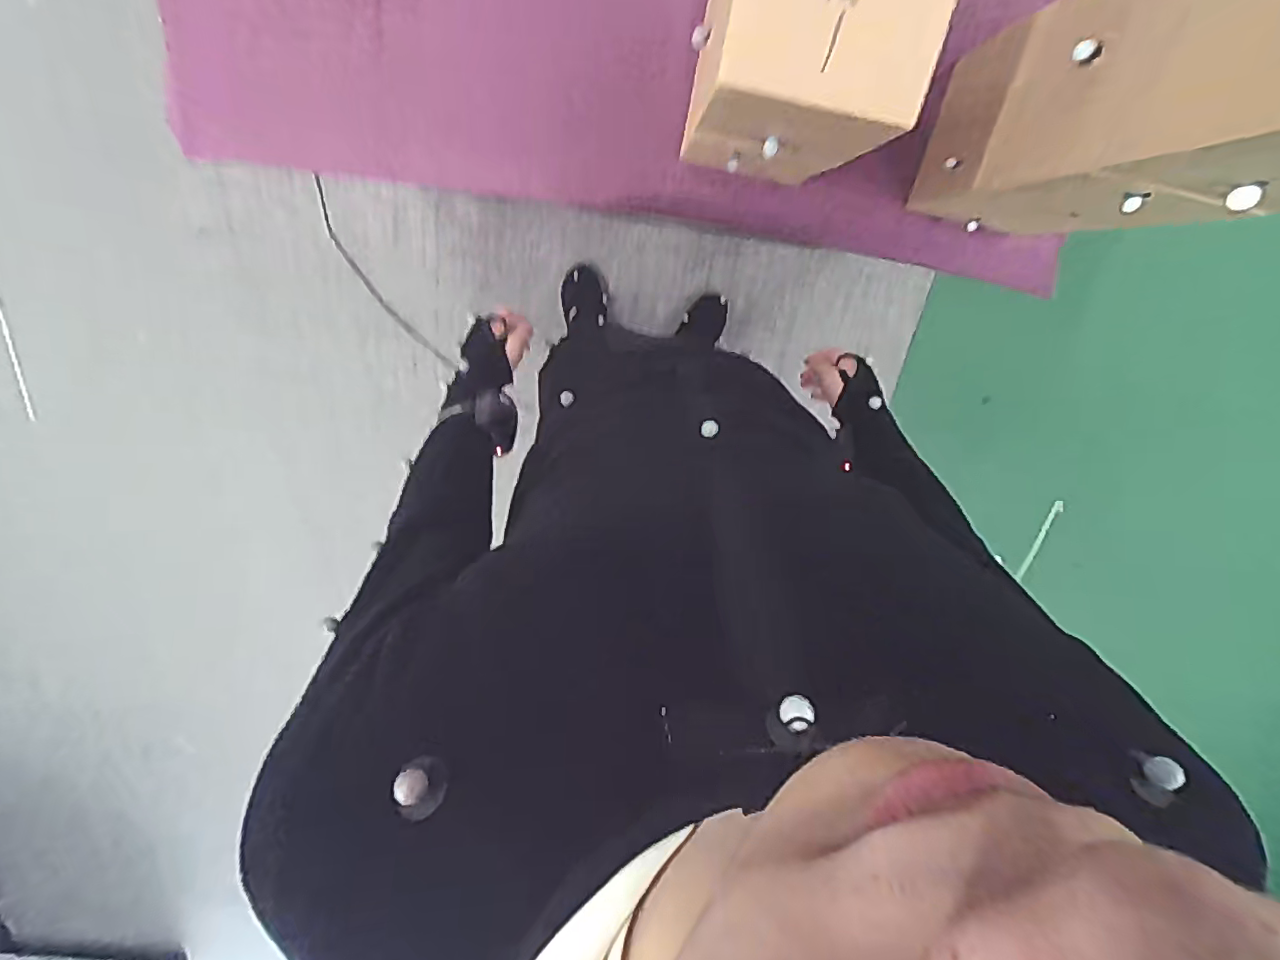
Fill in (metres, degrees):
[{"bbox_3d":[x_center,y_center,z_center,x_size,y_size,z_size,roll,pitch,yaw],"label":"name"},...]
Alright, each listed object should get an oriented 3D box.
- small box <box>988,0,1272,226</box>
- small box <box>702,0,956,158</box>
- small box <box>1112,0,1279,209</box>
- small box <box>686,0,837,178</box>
[{"bbox_3d":[0.464,-0.345,0.490,0.168,0.176,0.179,12,112,-4],"label":"small box"},{"bbox_3d":[0.155,-0.405,0.468,0.168,0.176,0.179,10,112,-3],"label":"small box"},{"bbox_3d":[0.464,-0.285,0.336,0.168,0.176,0.179,11,113,-4],"label":"small box"},{"bbox_3d":[0.151,-0.465,0.620,0.168,0.176,0.179,10,111,-4],"label":"small box"}]
